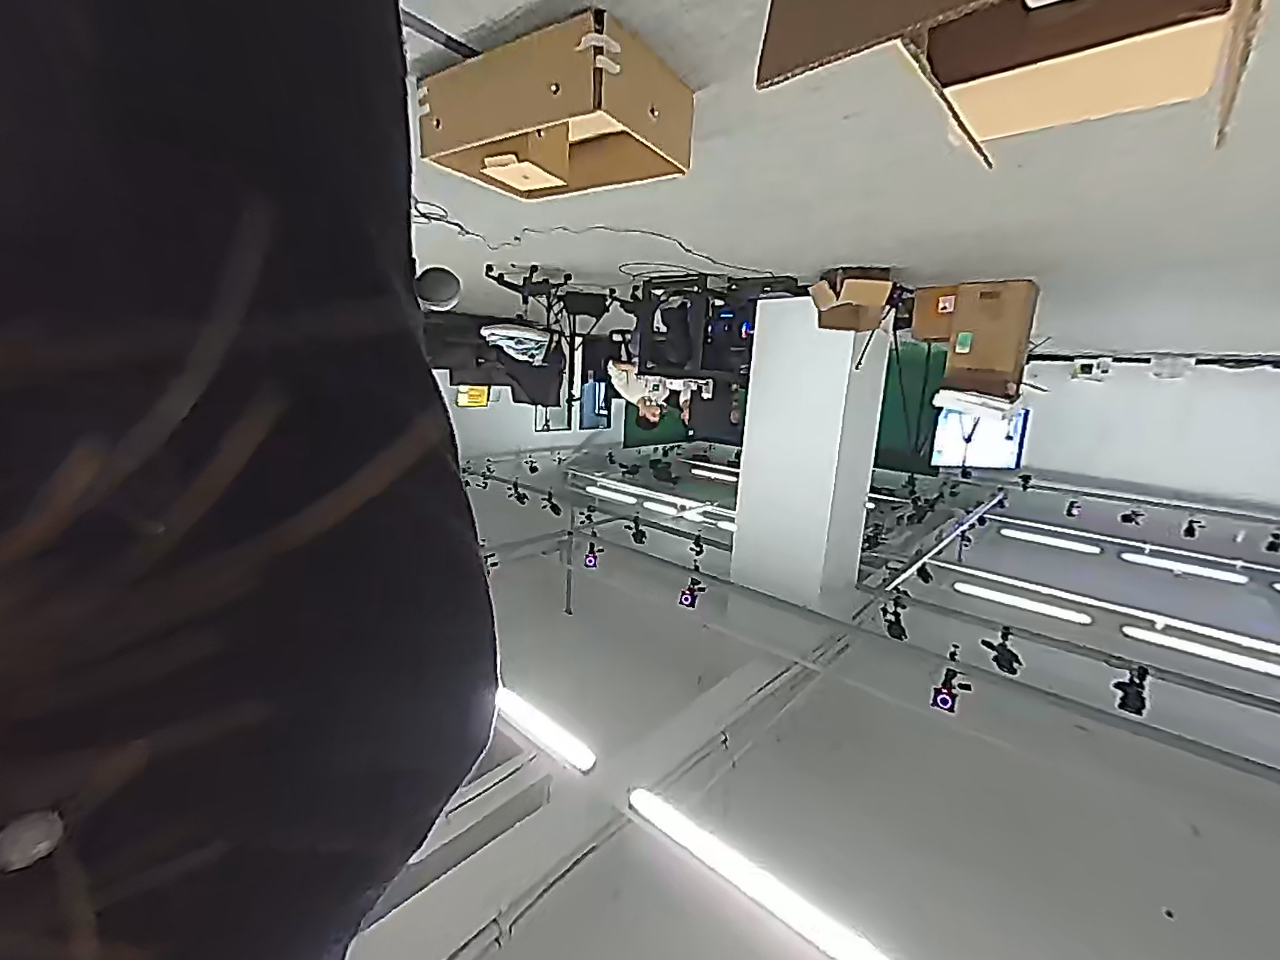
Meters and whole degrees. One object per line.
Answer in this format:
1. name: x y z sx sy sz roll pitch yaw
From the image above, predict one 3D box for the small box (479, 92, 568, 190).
1. small box: -0.302 -0.881 1.407 0.168 0.176 0.179 8 -167 26
